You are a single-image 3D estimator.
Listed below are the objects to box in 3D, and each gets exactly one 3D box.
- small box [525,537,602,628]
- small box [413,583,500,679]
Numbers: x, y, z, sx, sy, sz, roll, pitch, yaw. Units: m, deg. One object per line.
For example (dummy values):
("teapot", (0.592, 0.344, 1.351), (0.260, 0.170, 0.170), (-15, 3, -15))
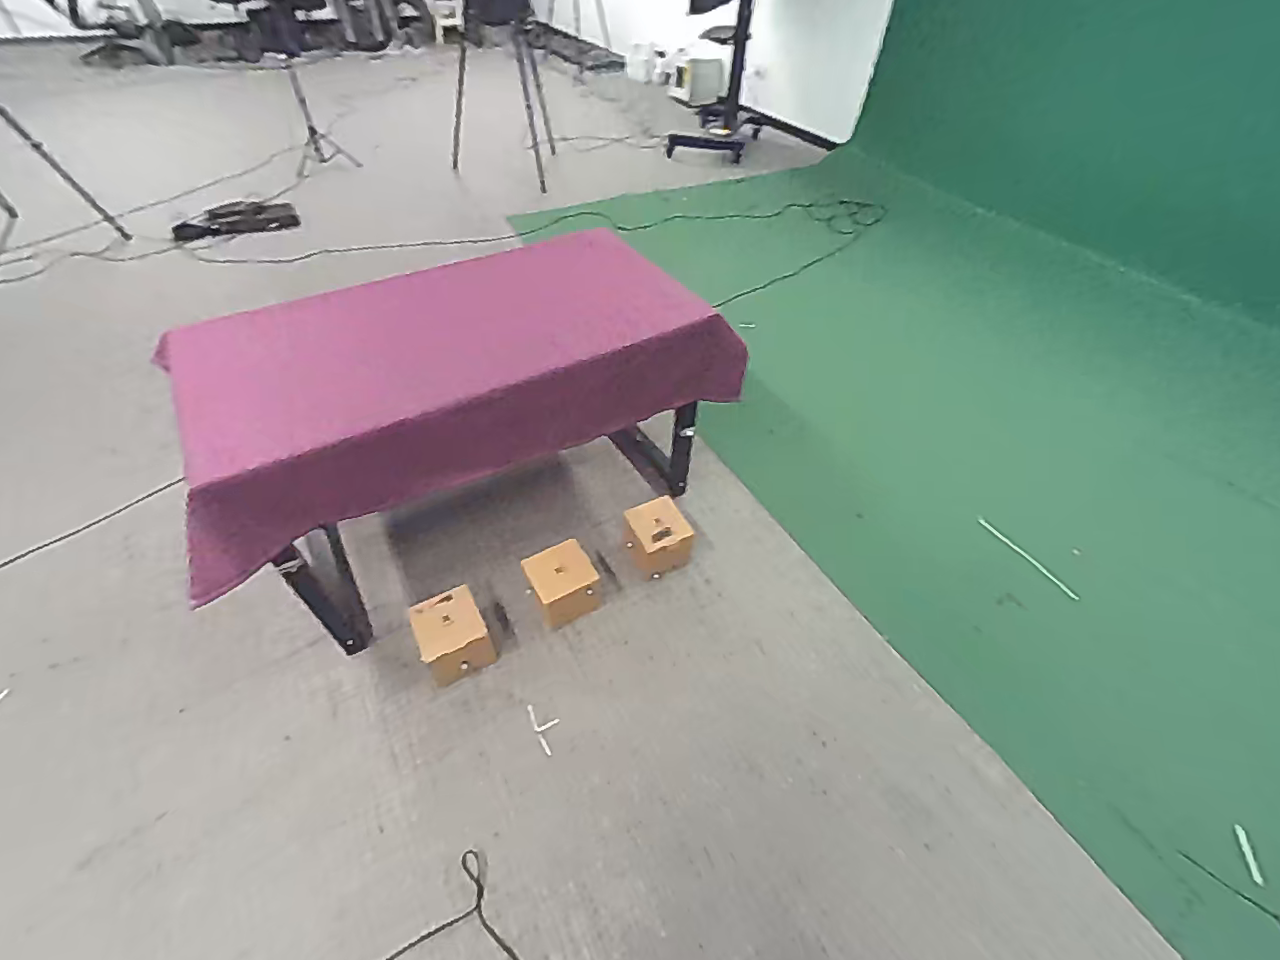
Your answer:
("small box", (-0.223, 0.309, 1.610), (0.179, 0.176, 0.168), (-23, 53, -22))
("small box", (-0.502, 0.425, 1.493), (0.168, 0.176, 0.179), (-23, 53, -20))
